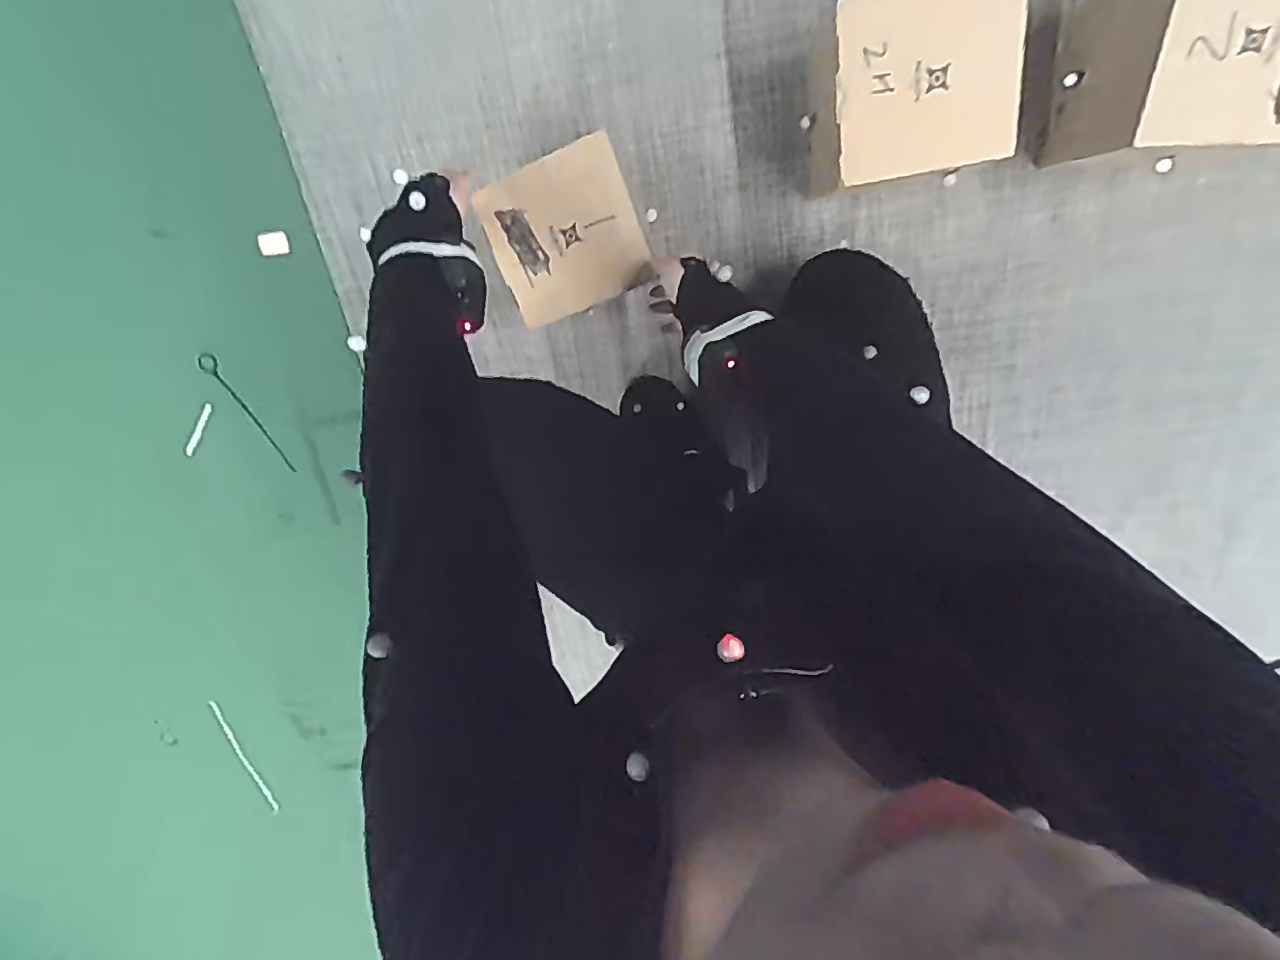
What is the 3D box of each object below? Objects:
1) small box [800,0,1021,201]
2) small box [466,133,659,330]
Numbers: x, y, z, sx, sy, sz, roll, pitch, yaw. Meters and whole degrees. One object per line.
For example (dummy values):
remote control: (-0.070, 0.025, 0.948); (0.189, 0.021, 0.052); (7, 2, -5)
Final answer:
small box: (0.287, -0.425, 0.611); (0.179, 0.176, 0.168); (-6, 112, 9)
small box: (-0.085, -0.308, 0.698); (0.179, 0.176, 0.168); (-18, 110, 13)
